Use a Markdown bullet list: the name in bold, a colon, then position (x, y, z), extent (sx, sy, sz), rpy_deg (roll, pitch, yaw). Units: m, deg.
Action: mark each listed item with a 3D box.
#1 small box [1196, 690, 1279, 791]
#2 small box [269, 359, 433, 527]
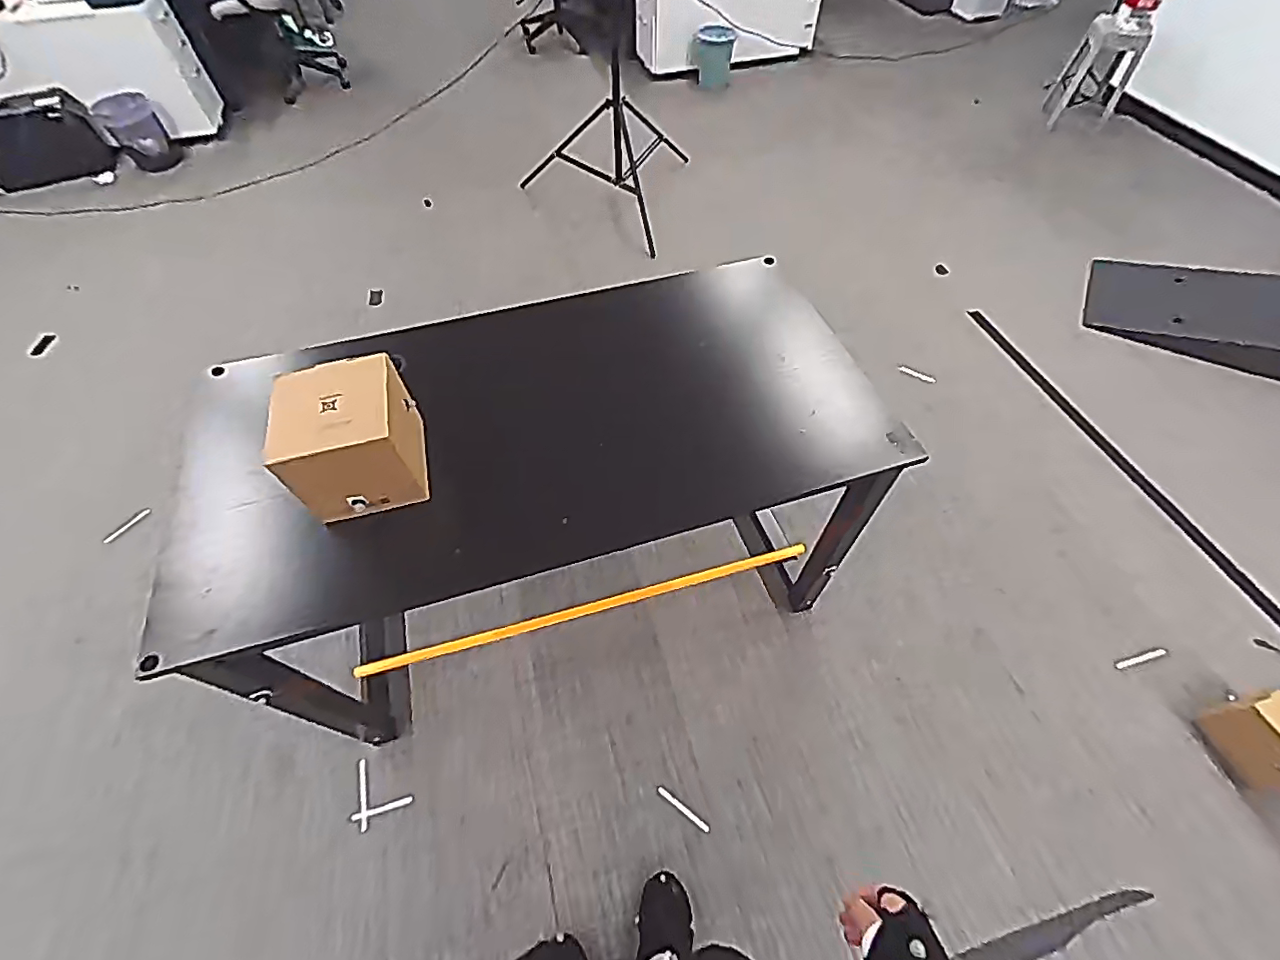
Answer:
- **small box**: position (1.472, 0.595, 1.239), extent (0.168, 0.176, 0.179), rpy_deg (-17, 57, -10)
- **small box**: position (-0.435, -0.055, 0.838), extent (0.168, 0.176, 0.179), rpy_deg (-15, 57, -8)
